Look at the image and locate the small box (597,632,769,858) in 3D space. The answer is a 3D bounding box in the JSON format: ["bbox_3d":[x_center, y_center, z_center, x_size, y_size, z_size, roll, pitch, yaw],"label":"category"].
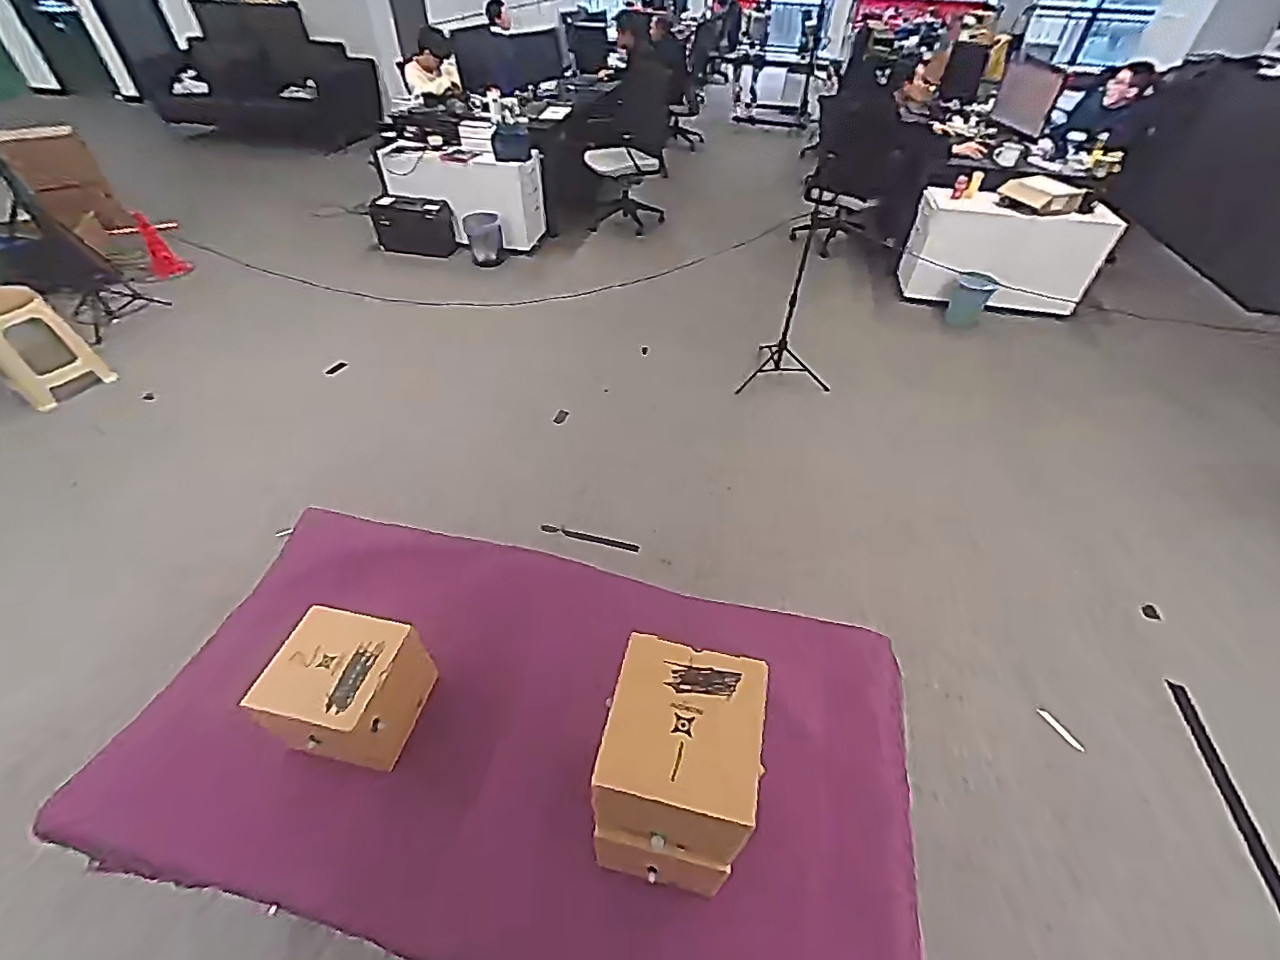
[{"bbox_3d":[0.051,0.316,0.648,0.168,0.176,0.179,11,46,9],"label":"small box"}]

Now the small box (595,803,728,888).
[{"bbox_3d":[0.043,0.439,0.757,0.168,0.176,0.179,11,45,8],"label":"small box"}]
